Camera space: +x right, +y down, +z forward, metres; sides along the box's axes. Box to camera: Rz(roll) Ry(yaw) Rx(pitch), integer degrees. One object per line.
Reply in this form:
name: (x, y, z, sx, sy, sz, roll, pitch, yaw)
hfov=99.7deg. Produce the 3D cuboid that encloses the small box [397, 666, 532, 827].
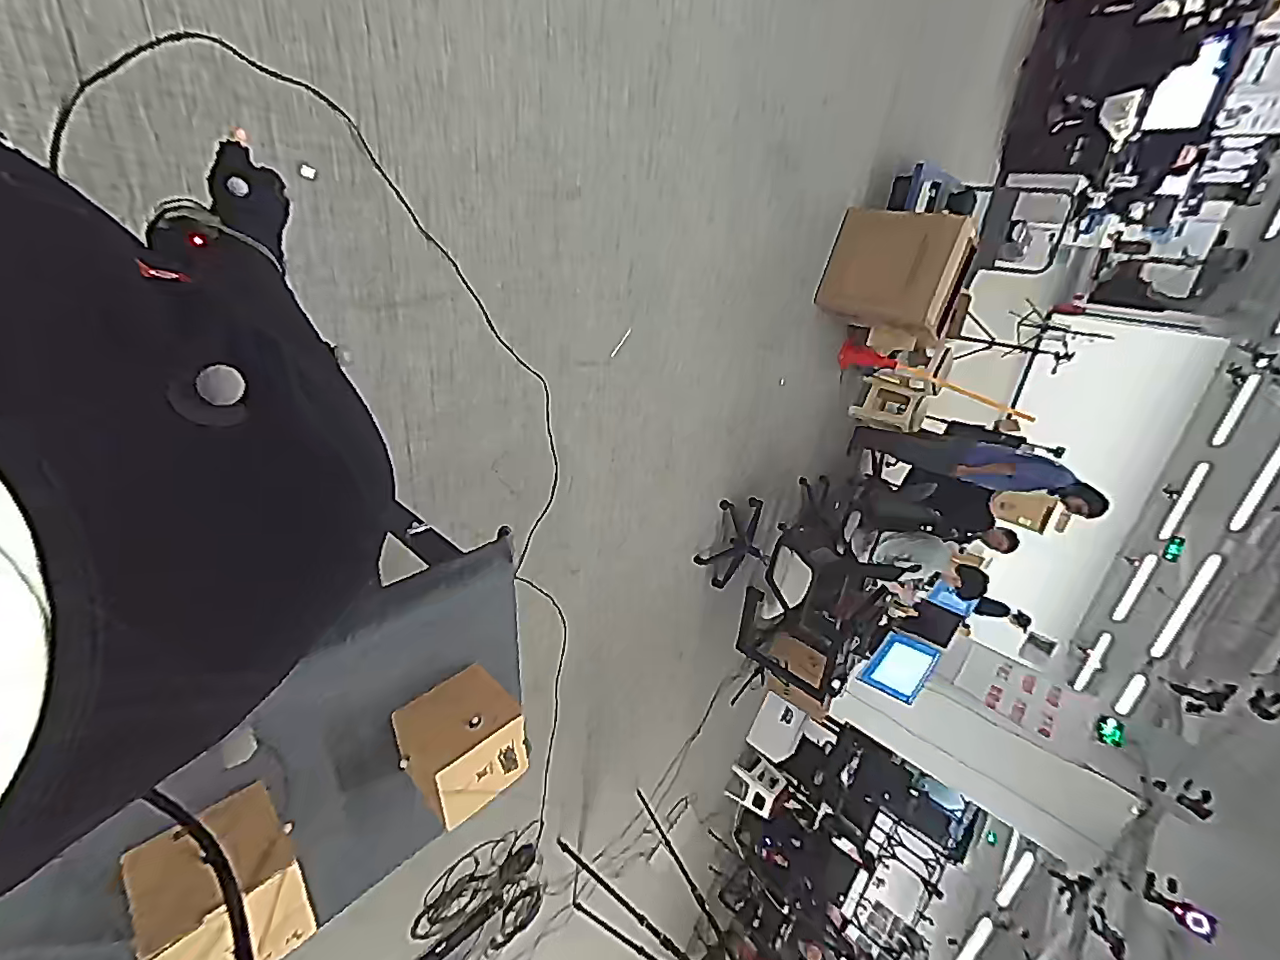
small box: (-0.329, 0.492, 1.025, 0.179, 0.176, 0.168, -25, 128, -40)

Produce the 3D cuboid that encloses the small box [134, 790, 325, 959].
small box: (-0.581, 0.586, 0.771, 0.168, 0.176, 0.179, -21, 125, -44)
